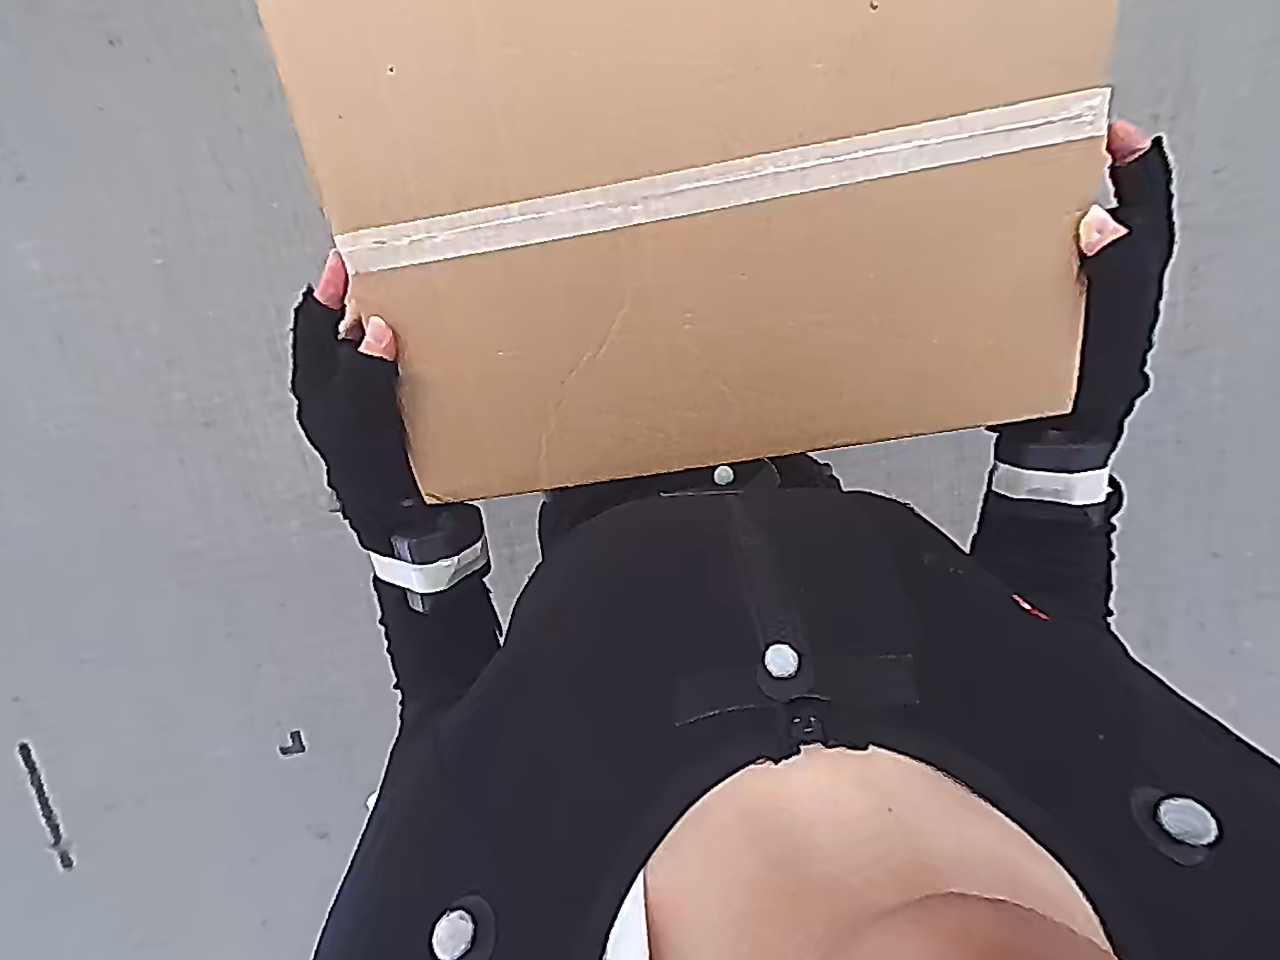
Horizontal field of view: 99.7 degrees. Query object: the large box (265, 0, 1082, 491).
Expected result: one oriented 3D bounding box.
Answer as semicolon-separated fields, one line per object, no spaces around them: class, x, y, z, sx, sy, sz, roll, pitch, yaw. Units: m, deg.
large box;0.032;-0.218;0.436;0.408;0.320;0.320;-8;110;4
